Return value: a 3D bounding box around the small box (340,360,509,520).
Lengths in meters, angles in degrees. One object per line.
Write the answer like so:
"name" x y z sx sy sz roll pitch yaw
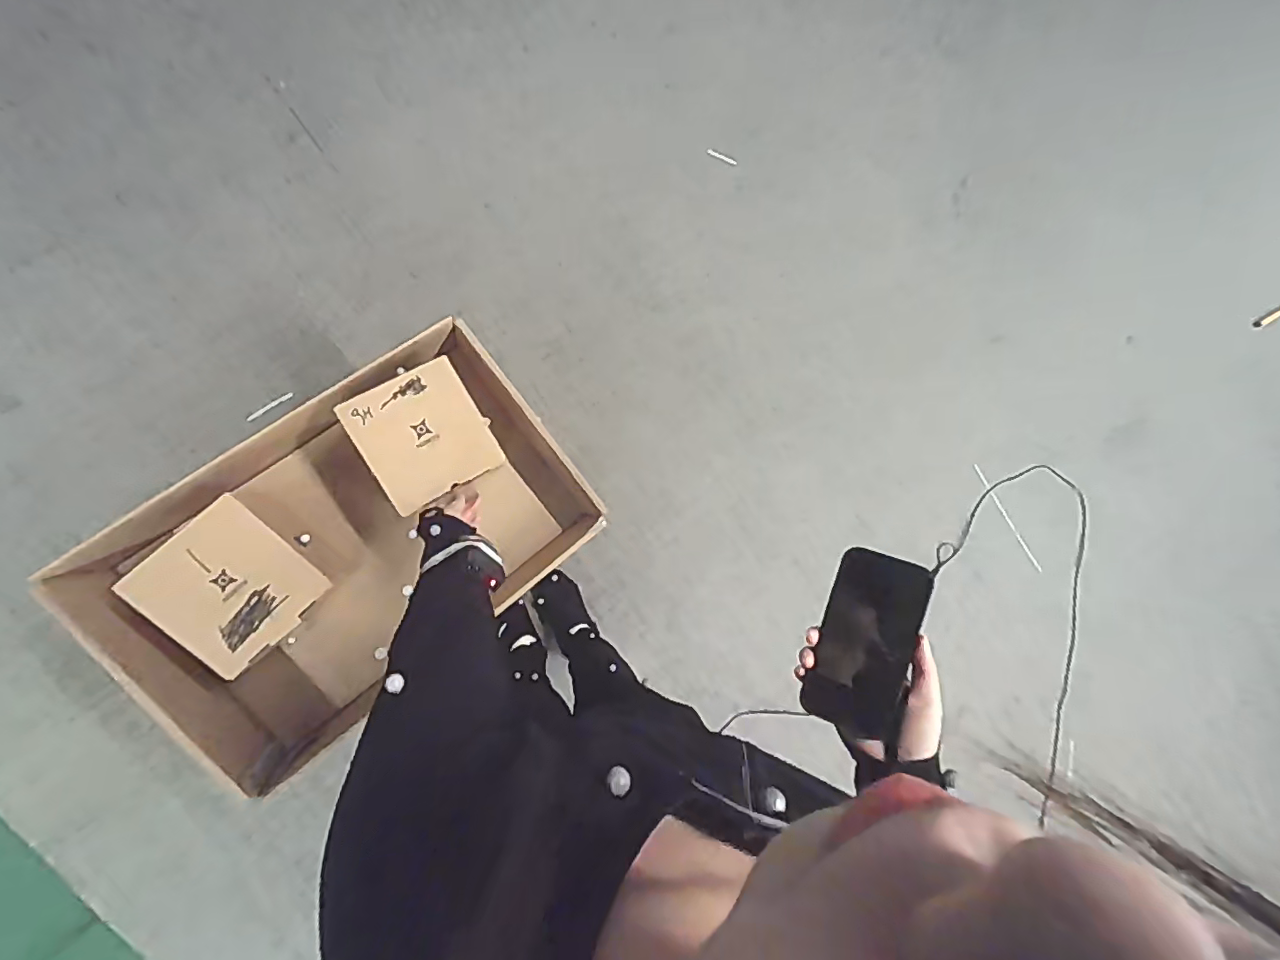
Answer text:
"small box" -0.318 -0.058 0.829 0.168 0.176 0.179 -31 98 -16
